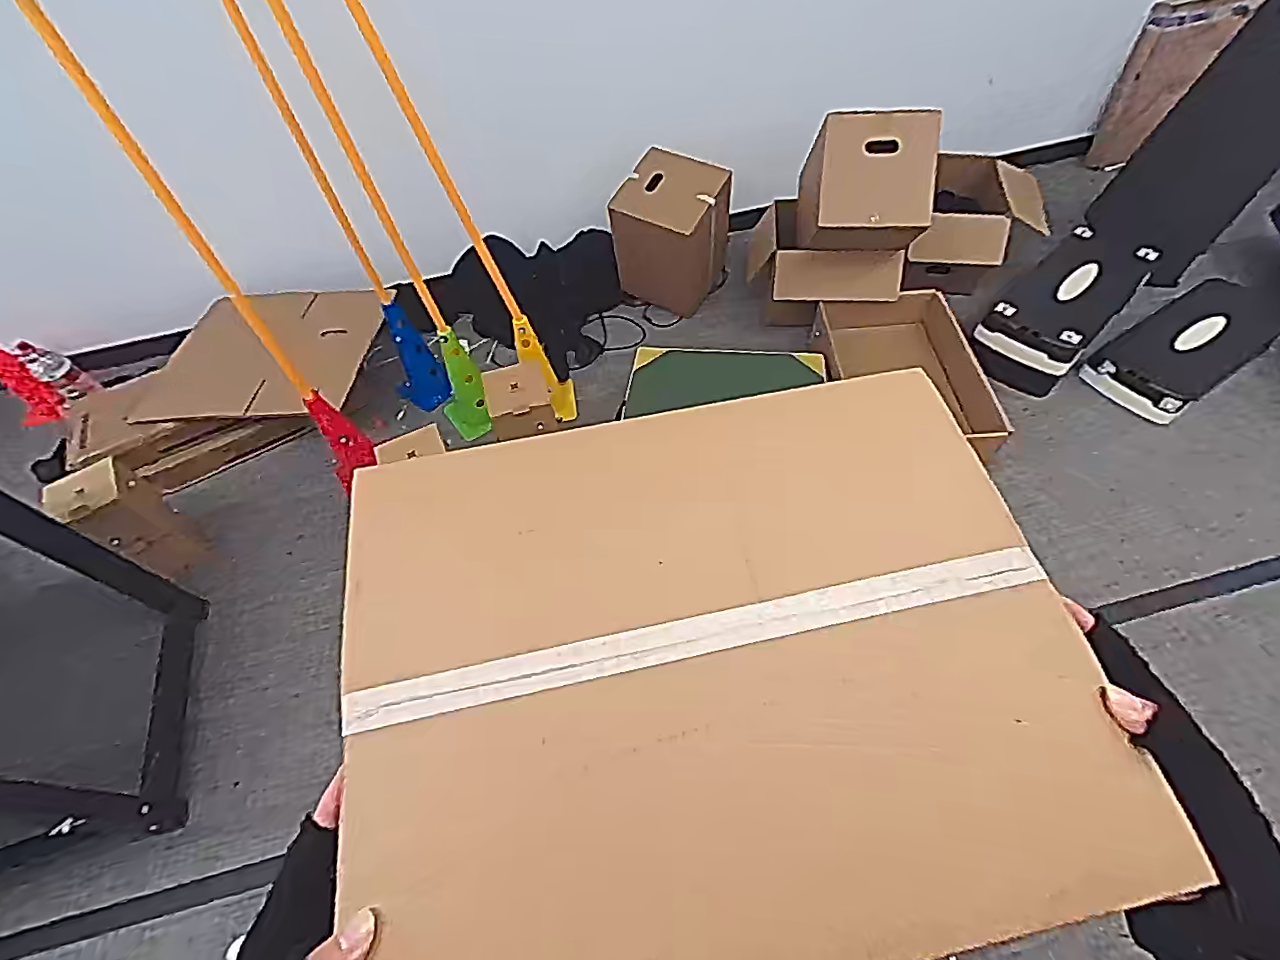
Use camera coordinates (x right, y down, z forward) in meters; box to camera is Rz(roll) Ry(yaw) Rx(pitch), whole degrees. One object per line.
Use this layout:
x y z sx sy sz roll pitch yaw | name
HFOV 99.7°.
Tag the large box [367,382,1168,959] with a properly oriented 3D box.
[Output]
0.043 0.166 0.452 0.408 0.320 0.320 -11 63 -4 | large box
